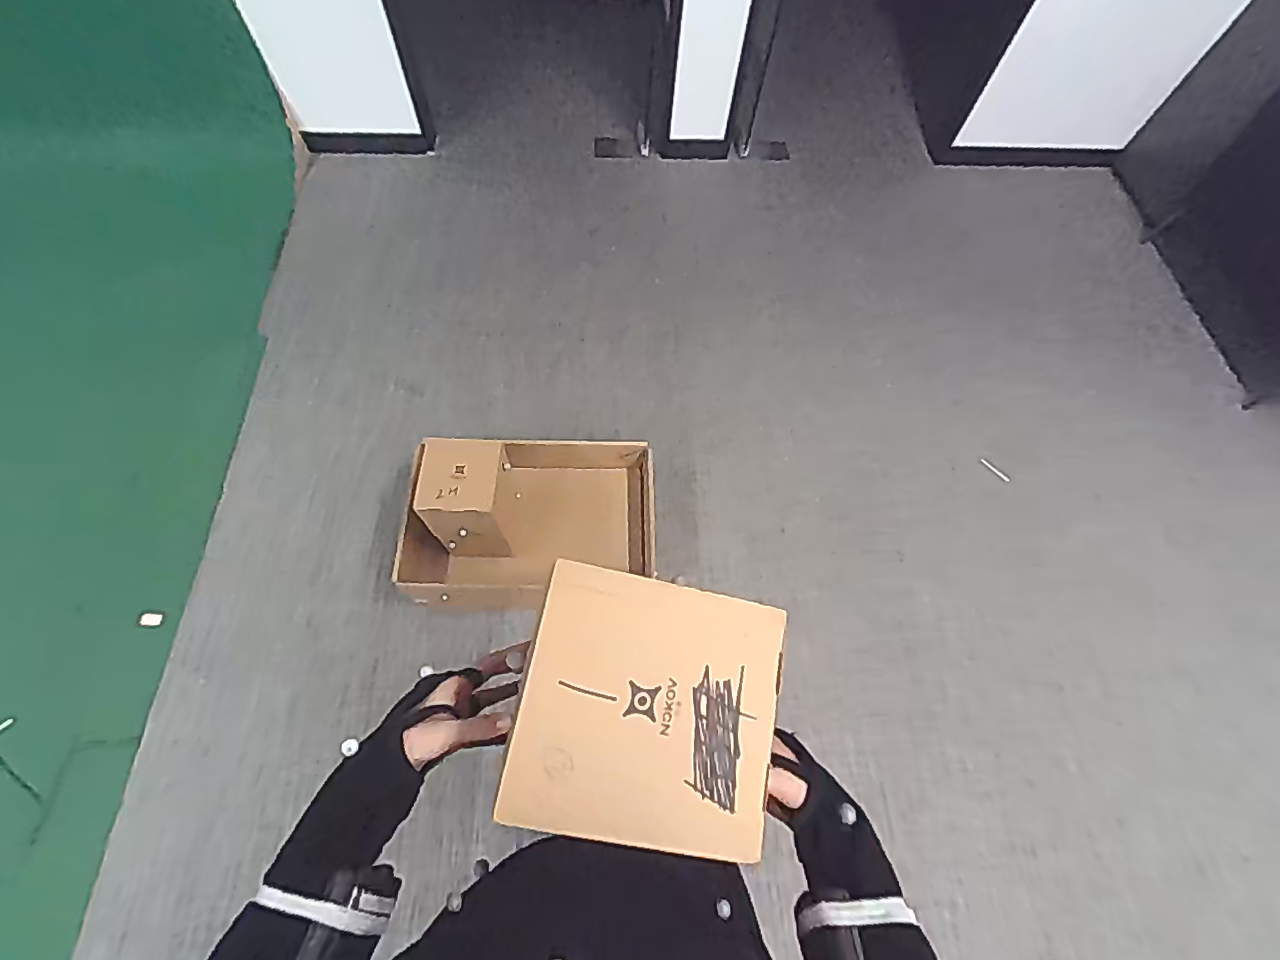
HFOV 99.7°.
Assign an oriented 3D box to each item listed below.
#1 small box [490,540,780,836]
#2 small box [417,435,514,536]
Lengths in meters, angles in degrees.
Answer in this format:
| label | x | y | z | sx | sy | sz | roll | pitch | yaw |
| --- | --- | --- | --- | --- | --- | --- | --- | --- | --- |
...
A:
| label | x | y | z | sx | sy | sz | roll | pitch | yaw |
| --- | --- | --- | --- | --- | --- | --- | --- | --- | --- |
| small box | -0.008 | 0.159 | 0.442 | 0.179 | 0.176 | 0.168 | 13 | 71 | -6 |
| small box | -0.391 | 0.015 | 1.245 | 0.168 | 0.176 | 0.179 | 3 | 65 | -2 |
